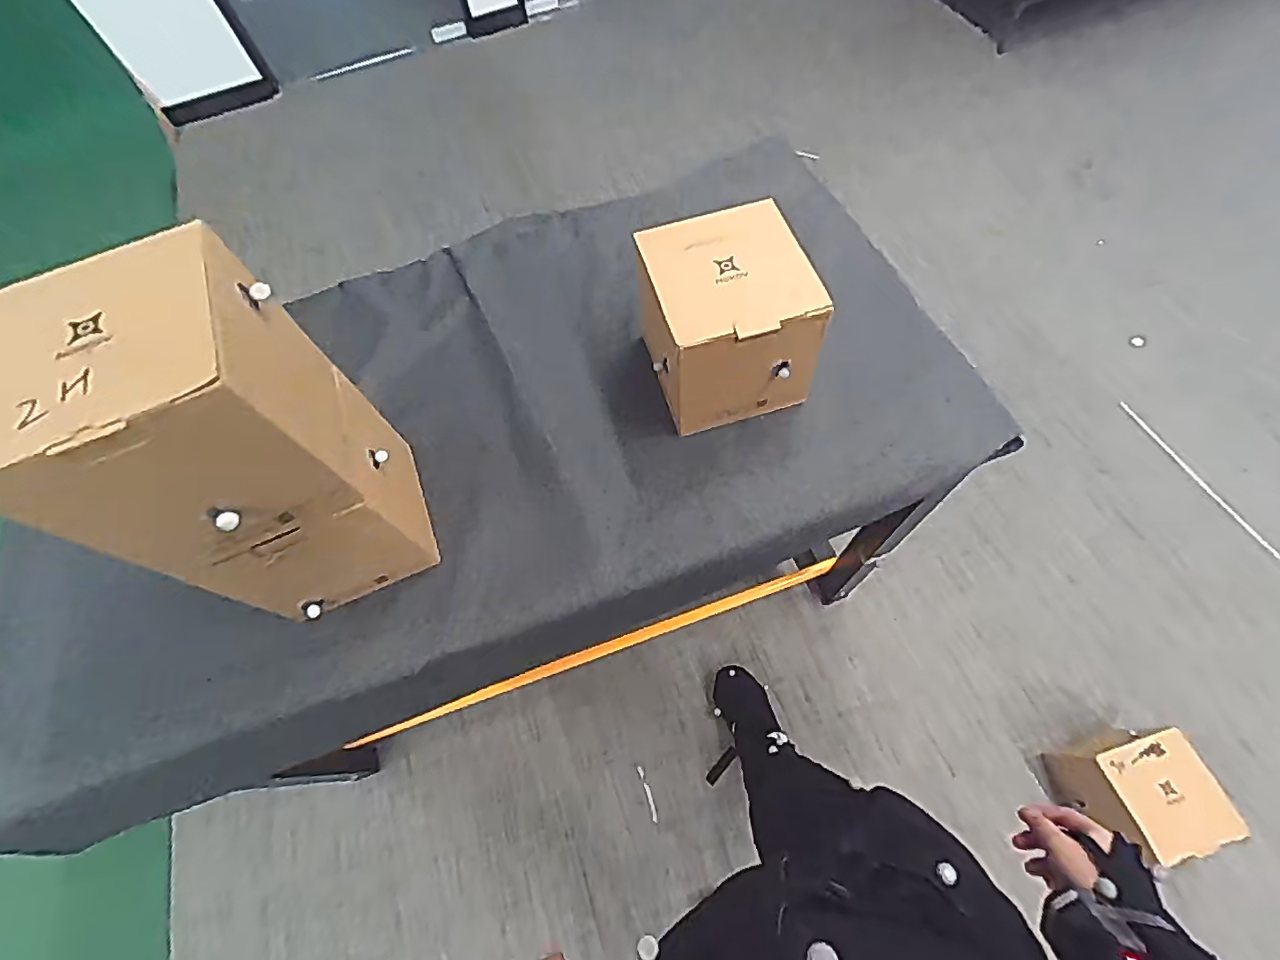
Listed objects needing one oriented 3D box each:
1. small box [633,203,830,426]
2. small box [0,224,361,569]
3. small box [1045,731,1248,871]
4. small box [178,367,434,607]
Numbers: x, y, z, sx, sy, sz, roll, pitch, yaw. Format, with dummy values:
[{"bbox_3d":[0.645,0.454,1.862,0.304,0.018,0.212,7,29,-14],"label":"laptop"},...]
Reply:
[{"bbox_3d":[0.097,-0.182,0.638,0.168,0.176,0.179,-16,62,-4],"label":"small box"},{"bbox_3d":[-0.356,-0.057,0.430,0.168,0.176,0.179,-25,64,-7],"label":"small box"},{"bbox_3d":[0.910,0.576,0.994,0.168,0.176,0.179,-17,64,-4],"label":"small box"},{"bbox_3d":[-0.342,0.020,0.575,0.168,0.176,0.179,-23,62,-7],"label":"small box"}]
